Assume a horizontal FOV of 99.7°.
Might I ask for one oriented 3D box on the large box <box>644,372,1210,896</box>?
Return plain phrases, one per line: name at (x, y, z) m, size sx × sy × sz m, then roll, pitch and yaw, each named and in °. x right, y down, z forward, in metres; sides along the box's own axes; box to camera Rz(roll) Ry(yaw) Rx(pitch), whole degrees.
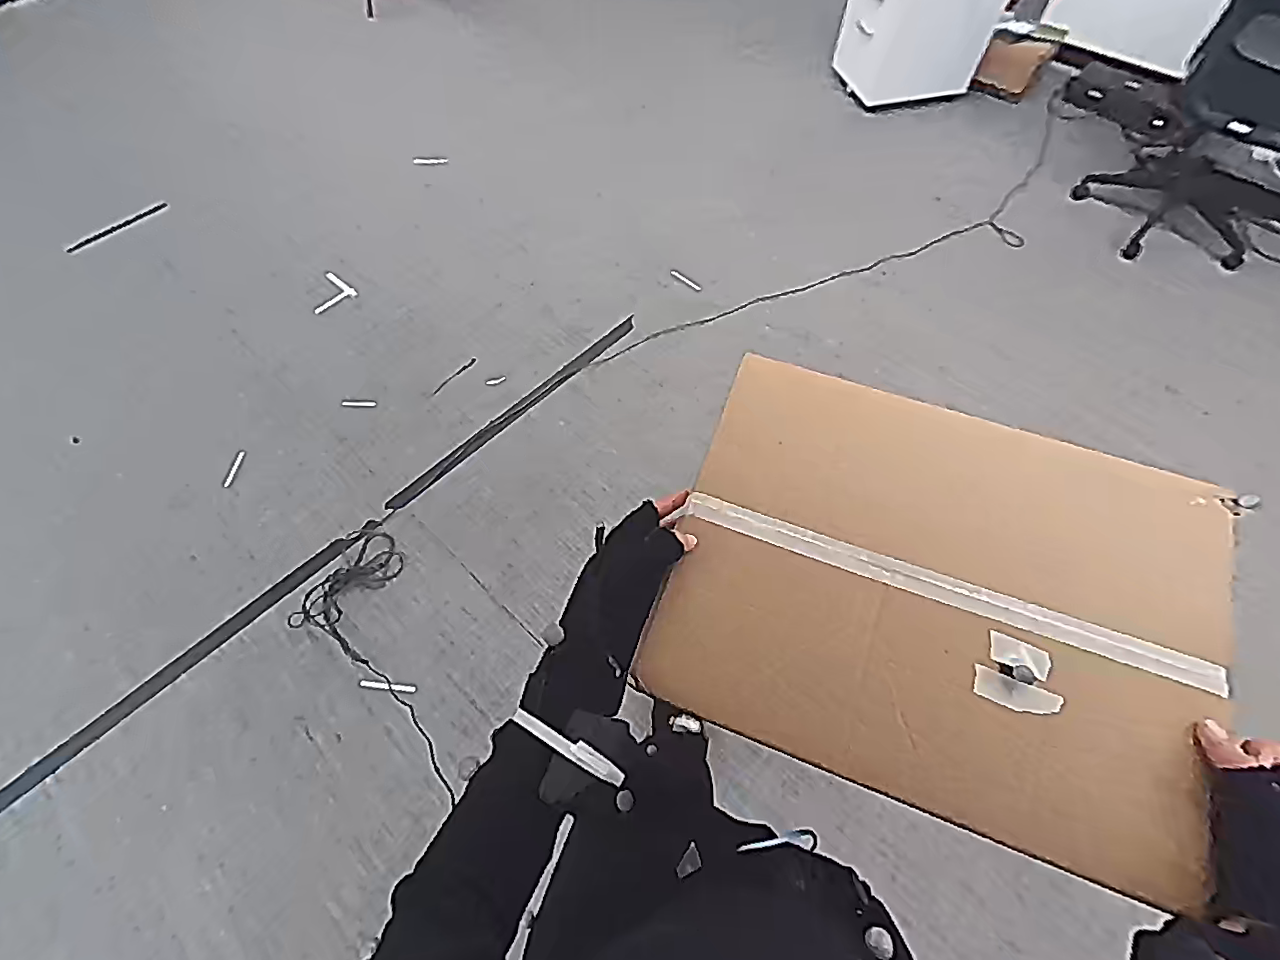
large box at (0.245, 0.138, 0.582) m, size 0.408 × 0.320 × 0.320 m, roll 19°, pitch 74°, yaw 10°
